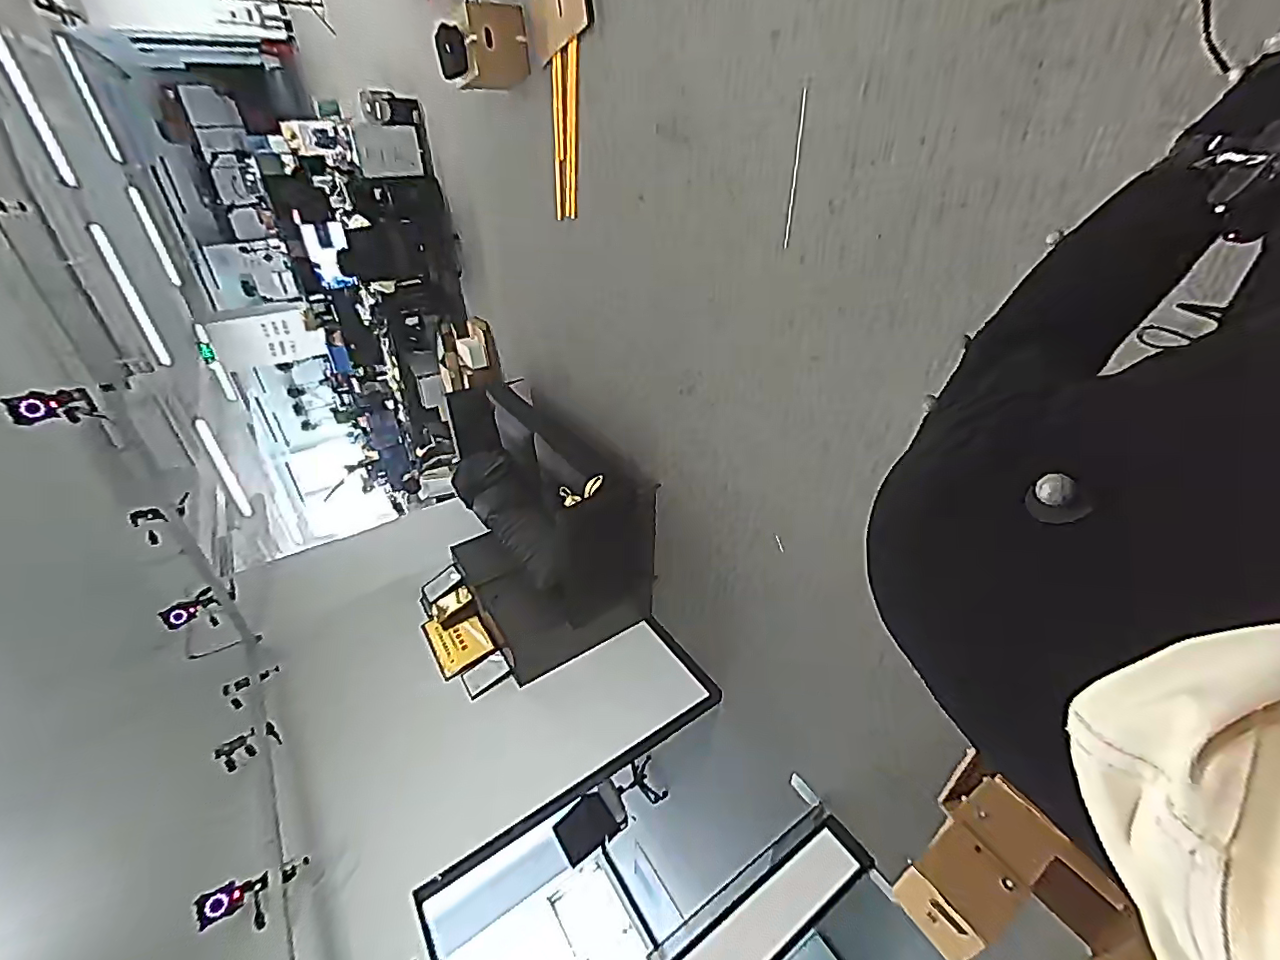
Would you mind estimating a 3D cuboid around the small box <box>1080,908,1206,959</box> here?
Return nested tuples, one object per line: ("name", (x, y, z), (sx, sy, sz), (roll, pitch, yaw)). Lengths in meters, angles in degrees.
("small box", (0.992, 0.991, 1.051), (0.168, 0.176, 0.179), (41, 142, 40))

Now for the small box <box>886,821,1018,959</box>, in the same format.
("small box", (0.682, 0.895, 1.182), (0.168, 0.176, 0.179), (43, 144, 42))
